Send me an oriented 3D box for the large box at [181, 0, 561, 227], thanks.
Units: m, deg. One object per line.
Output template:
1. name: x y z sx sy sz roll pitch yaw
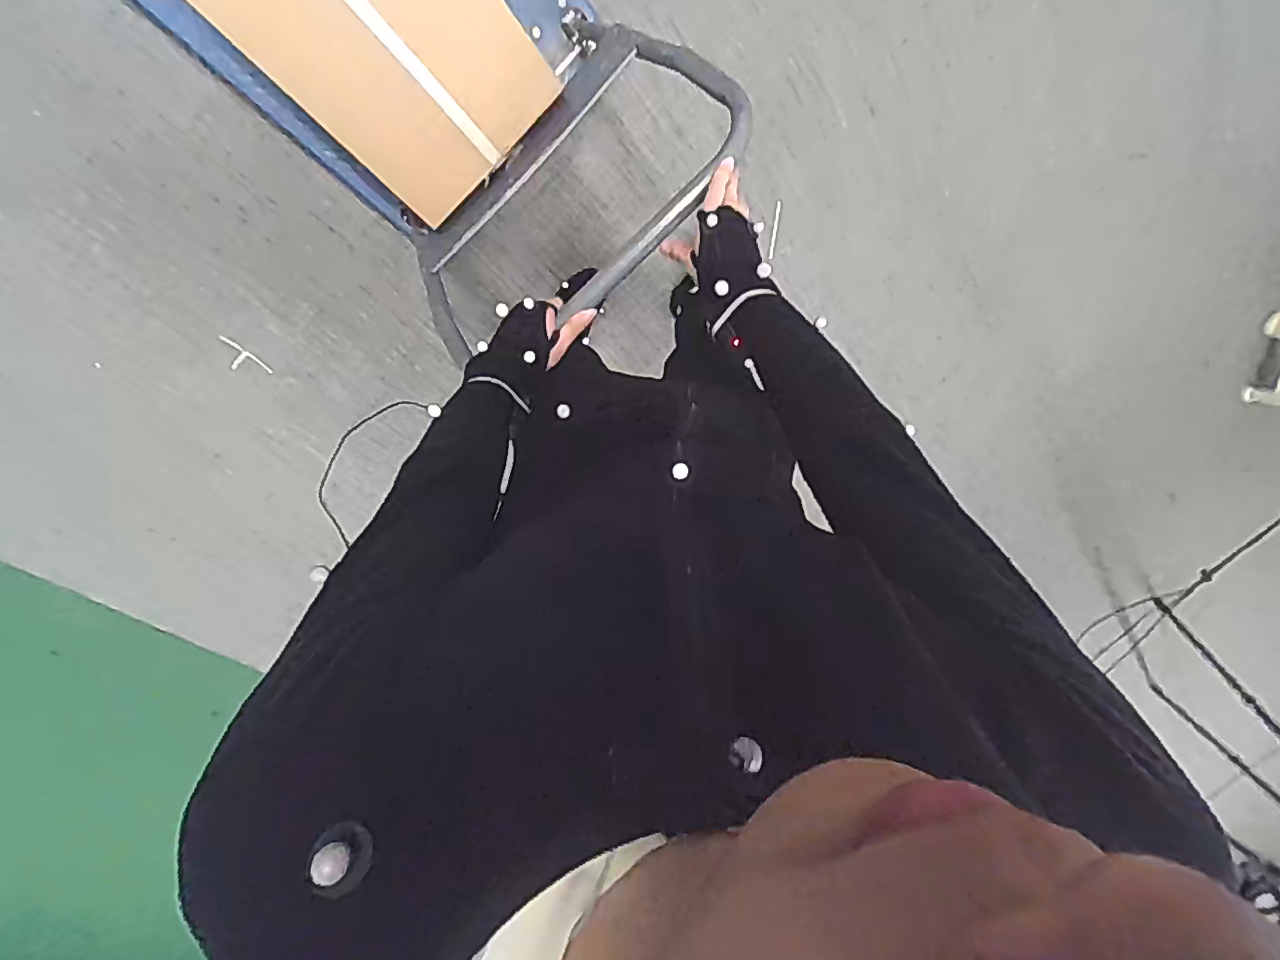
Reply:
1. large box: -0.396 -0.705 0.869 0.320 0.320 0.408 -41 132 12
